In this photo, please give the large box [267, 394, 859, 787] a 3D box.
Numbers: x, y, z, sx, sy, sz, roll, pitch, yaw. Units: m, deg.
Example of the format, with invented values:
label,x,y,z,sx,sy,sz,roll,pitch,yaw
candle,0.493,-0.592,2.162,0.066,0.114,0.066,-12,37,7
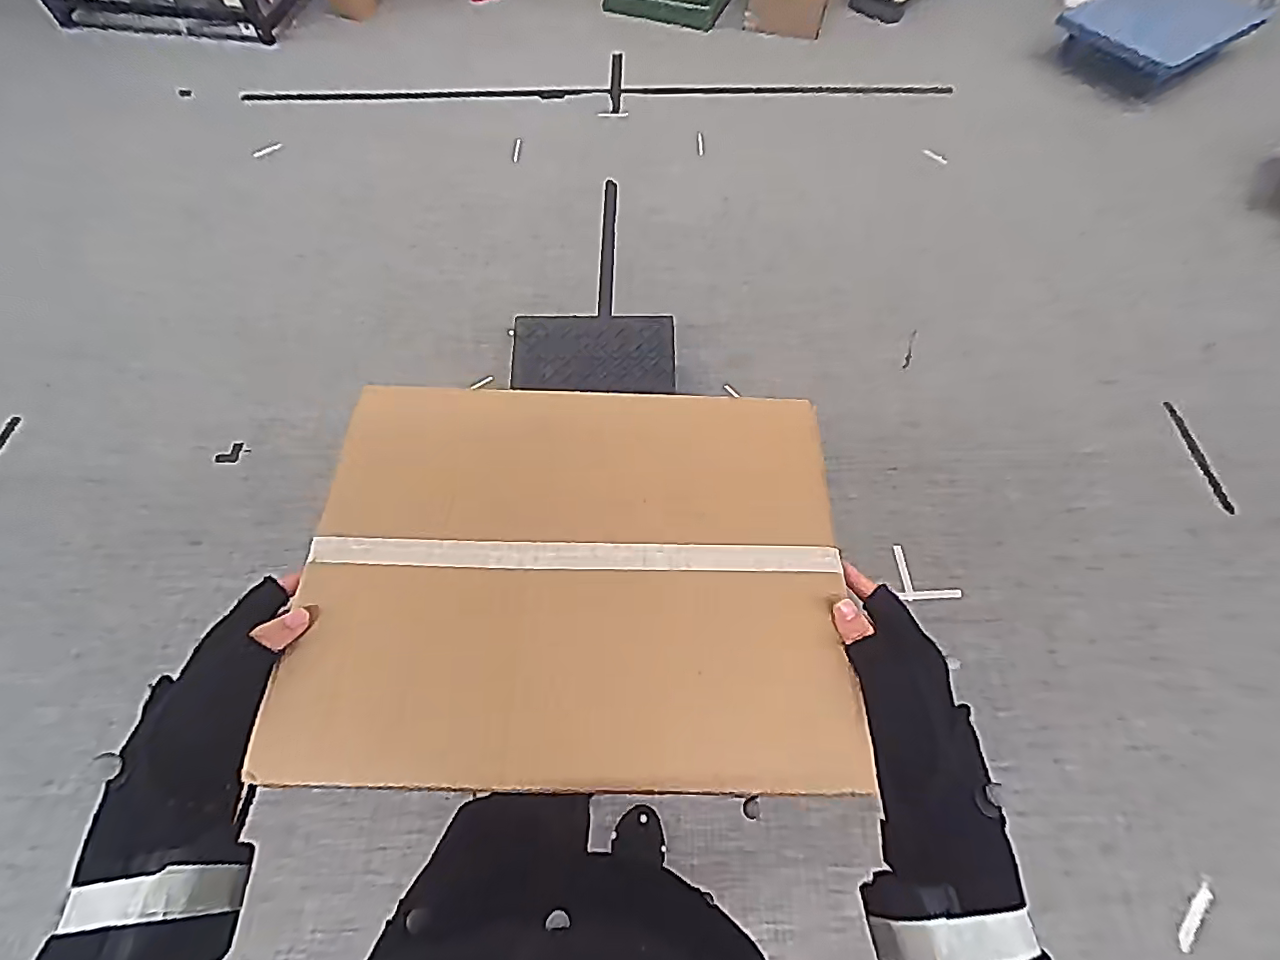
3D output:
label,x,y,z,sx,sy,sz,roll,pitch,yaw
large box,-0.051,0.130,0.560,0.408,0.320,0.320,2,62,-2
